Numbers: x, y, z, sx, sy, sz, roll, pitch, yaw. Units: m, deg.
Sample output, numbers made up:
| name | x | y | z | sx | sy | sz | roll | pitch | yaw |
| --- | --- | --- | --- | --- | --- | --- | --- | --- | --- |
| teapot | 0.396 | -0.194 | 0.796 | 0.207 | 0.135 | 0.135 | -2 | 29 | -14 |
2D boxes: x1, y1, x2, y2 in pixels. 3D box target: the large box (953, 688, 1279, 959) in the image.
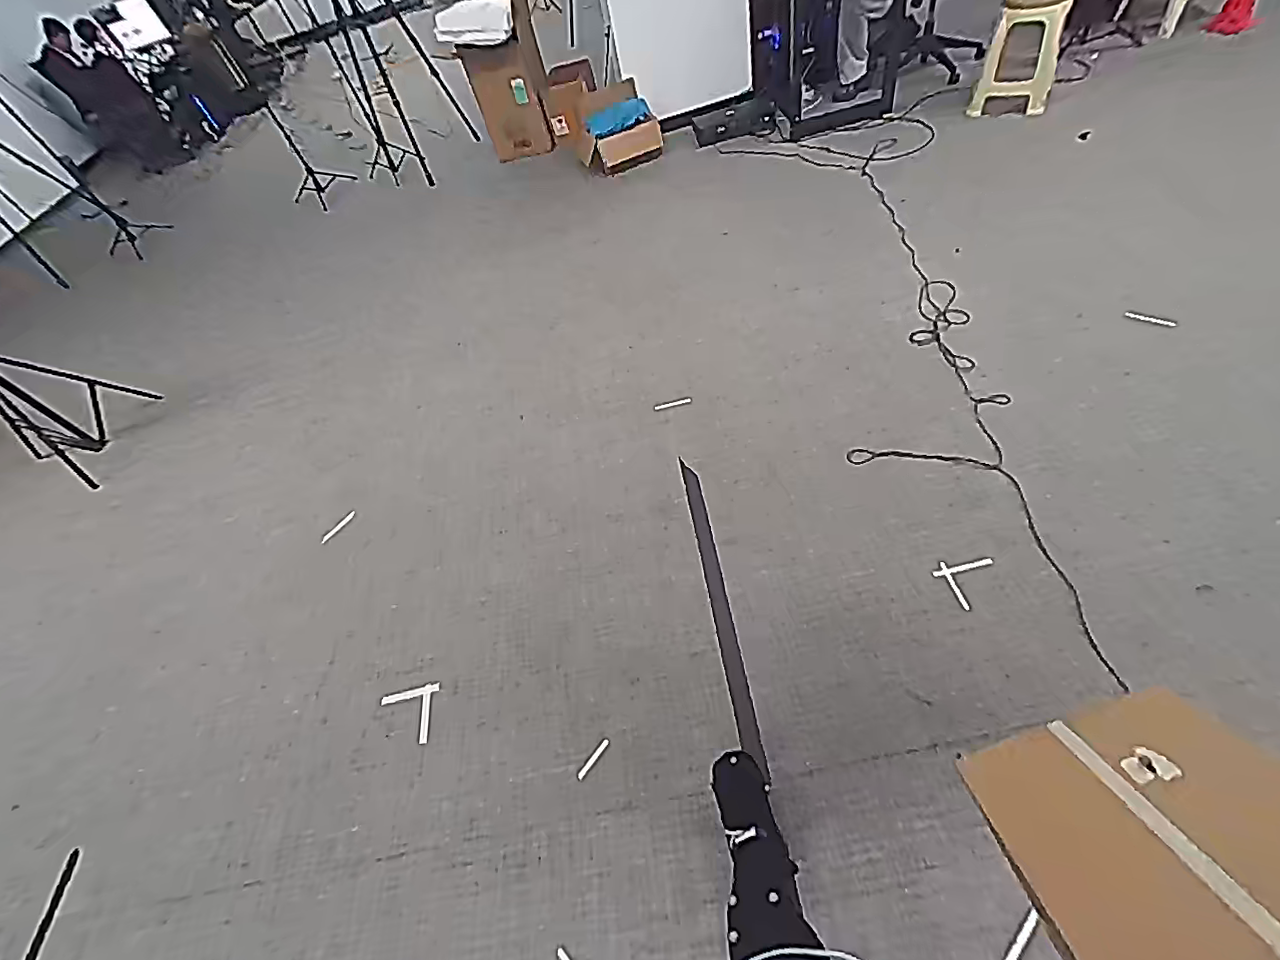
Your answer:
| name | x | y | z | sx | sy | sz | roll | pitch | yaw |
| --- | --- | --- | --- | --- | --- | --- | --- | --- | --- |
| large box | 0.668 | 0.529 | 0.638 | 0.320 | 0.408 | 0.320 | -27 | 91 | 11 |
